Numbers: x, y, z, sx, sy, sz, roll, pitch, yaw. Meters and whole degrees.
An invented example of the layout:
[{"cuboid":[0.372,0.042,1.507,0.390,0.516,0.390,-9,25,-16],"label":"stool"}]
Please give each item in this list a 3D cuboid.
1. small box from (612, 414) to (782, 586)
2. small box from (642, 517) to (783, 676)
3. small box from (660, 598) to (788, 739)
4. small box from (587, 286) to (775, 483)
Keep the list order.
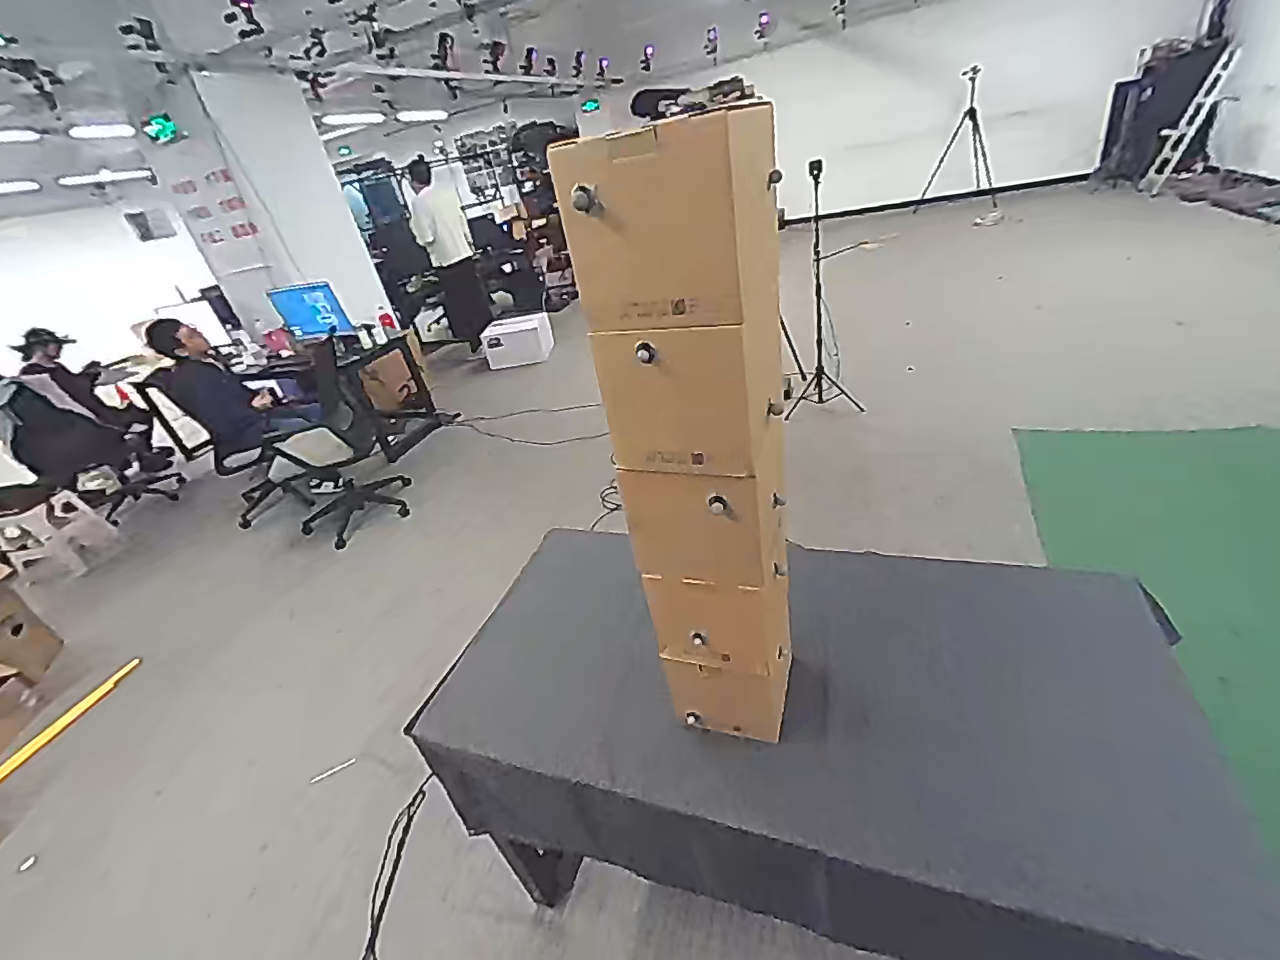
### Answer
[{"cuboid":[0.088,0.021,0.721,0.179,0.176,0.168,3,34,24],"label":"small box"},{"cuboid":[0.118,0.157,0.808,0.168,0.176,0.179,2,34,23],"label":"small box"},{"cuboid":[0.148,0.293,0.892,0.168,0.176,0.179,2,33,23],"label":"small box"},{"cuboid":[0.061,-0.116,0.636,0.168,0.176,0.179,4,34,25],"label":"small box"}]
